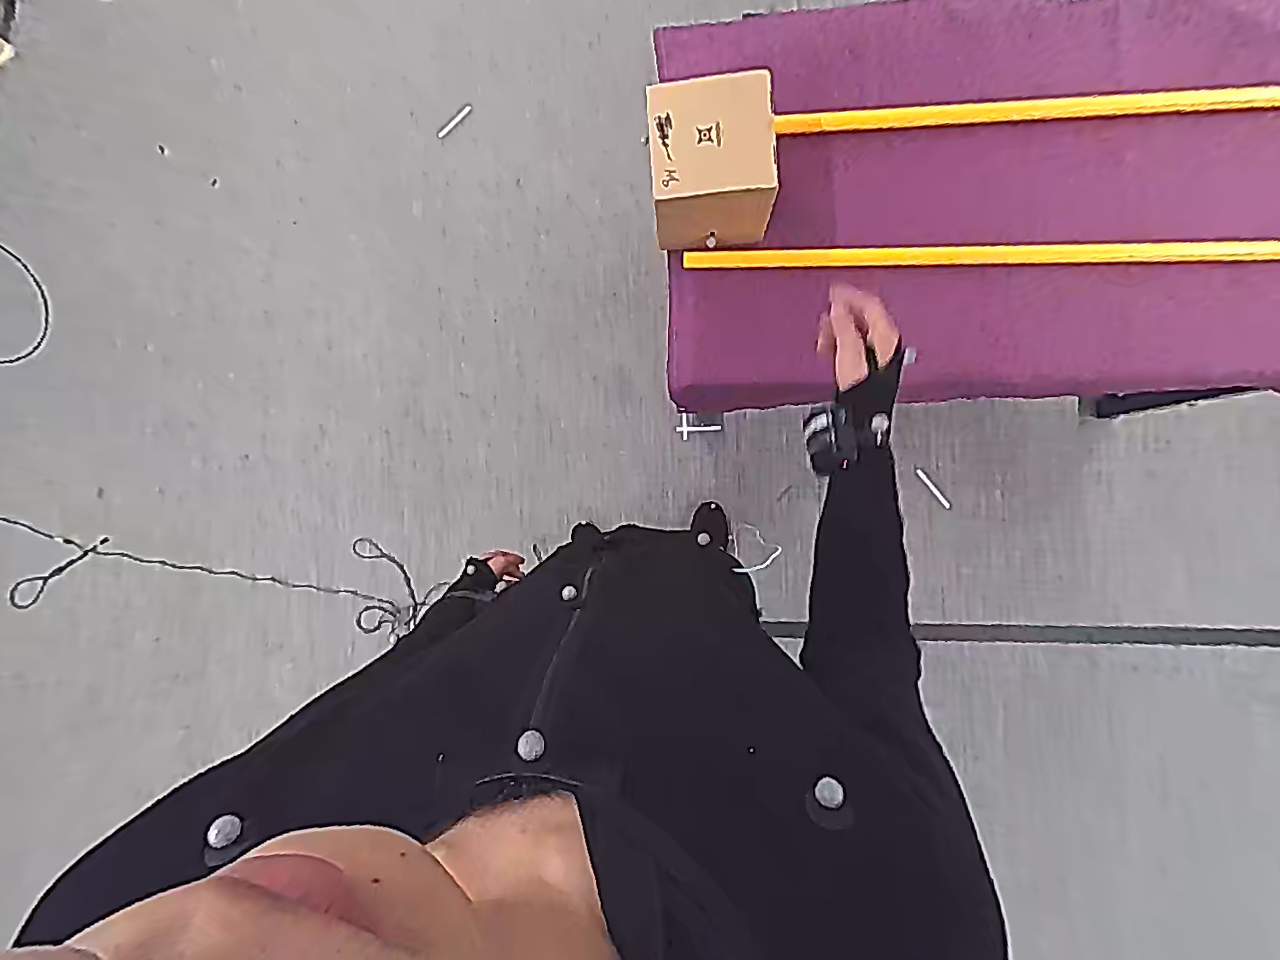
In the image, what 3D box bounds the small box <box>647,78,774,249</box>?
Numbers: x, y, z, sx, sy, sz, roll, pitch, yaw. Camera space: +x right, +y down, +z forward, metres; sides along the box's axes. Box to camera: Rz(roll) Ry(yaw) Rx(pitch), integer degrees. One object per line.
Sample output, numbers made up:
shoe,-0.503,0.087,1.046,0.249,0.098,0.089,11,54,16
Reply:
small box,0.104,-0.480,0.845,0.179,0.176,0.168,-3,89,4
